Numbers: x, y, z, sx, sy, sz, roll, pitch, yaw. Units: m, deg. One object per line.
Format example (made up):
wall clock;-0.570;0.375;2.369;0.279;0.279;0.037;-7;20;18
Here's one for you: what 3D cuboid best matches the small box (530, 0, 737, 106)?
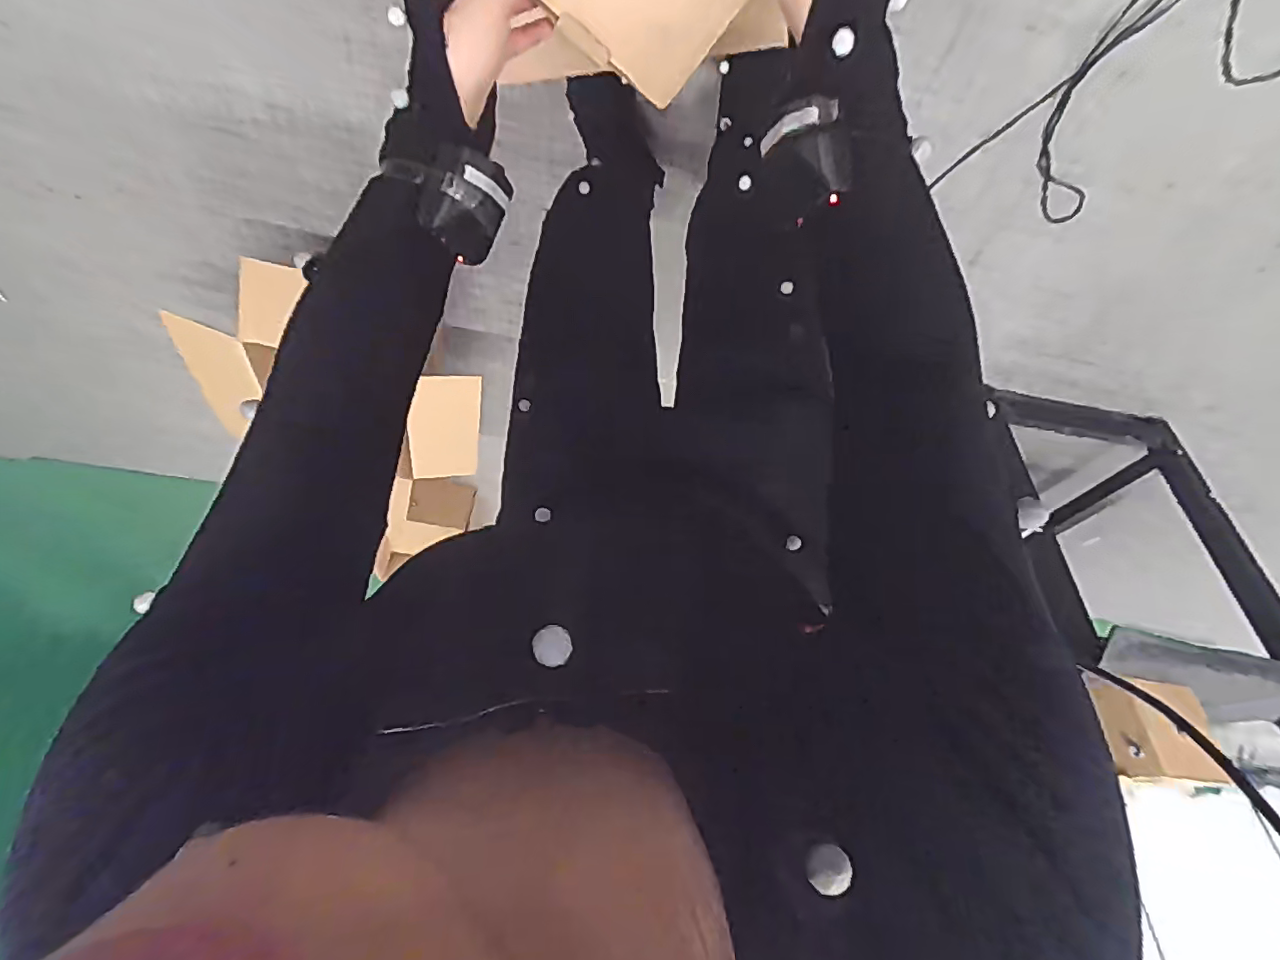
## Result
small box;0.003;-0.447;0.402;0.168;0.176;0.179;21;144;-33
